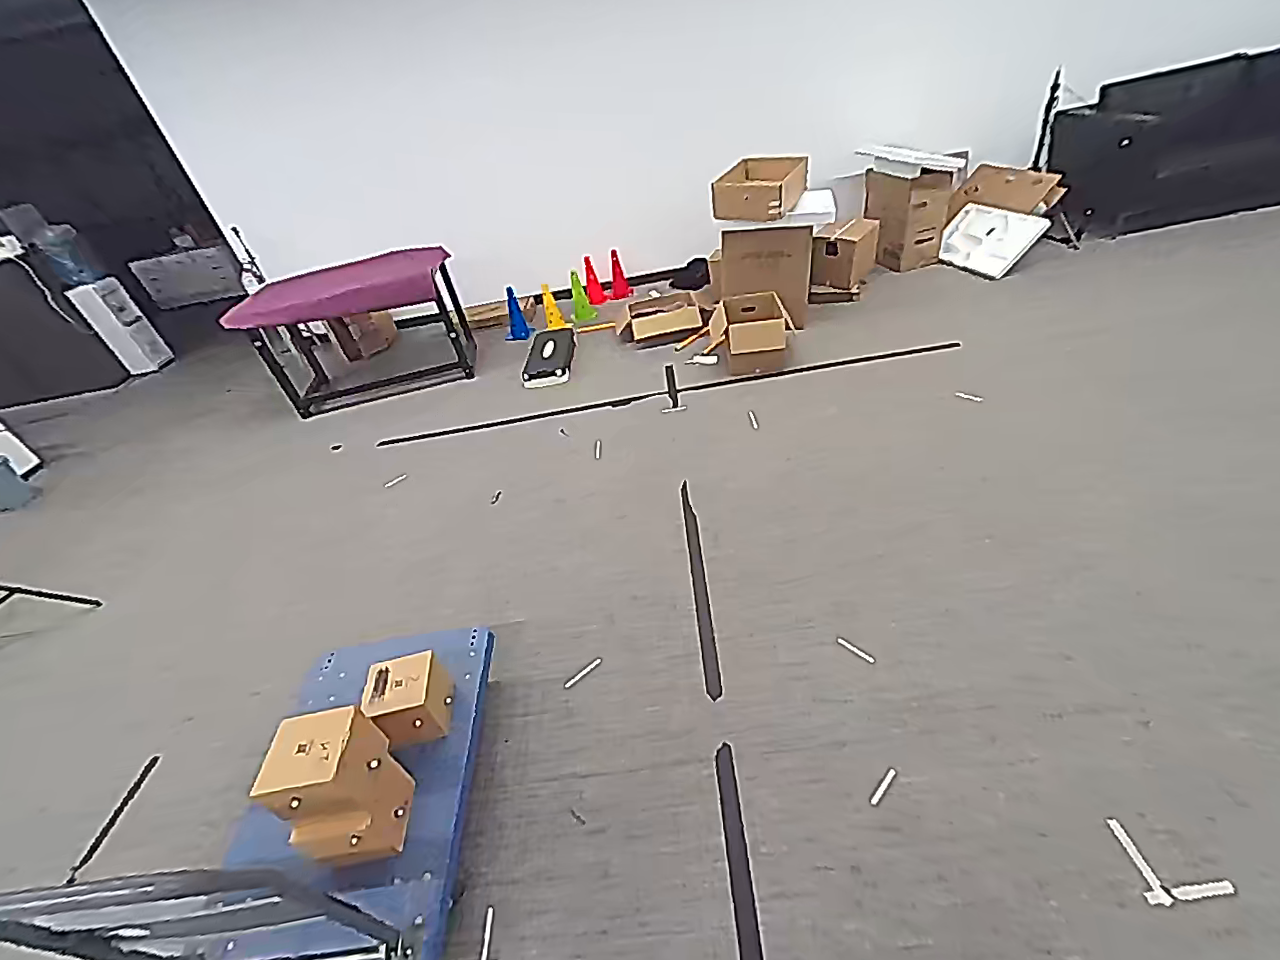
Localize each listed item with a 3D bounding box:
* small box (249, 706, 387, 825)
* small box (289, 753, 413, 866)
[{"bbox_3d":[-0.692,0.629,1.186,0.179,0.176,0.168,-11,38,0],"label":"small box"},{"bbox_3d":[-0.663,0.773,1.265,0.179,0.176,0.168,-11,37,0],"label":"small box"}]
